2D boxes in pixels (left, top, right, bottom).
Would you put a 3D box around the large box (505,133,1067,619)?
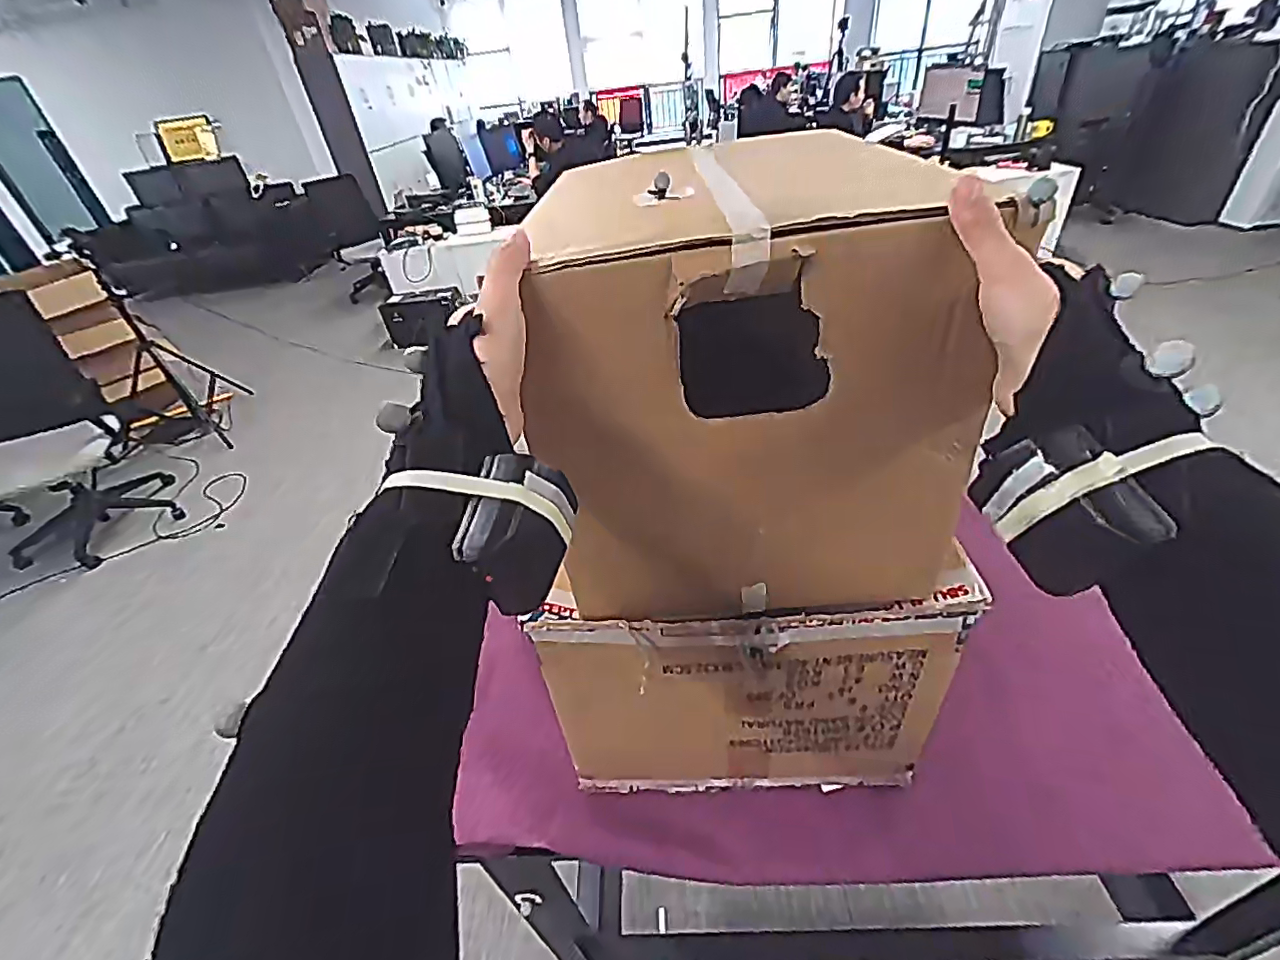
[{"bbox_3d":[0.089,-0.126,0.538,0.320,0.320,0.408,-7,37,5],"label":"large box"}]
